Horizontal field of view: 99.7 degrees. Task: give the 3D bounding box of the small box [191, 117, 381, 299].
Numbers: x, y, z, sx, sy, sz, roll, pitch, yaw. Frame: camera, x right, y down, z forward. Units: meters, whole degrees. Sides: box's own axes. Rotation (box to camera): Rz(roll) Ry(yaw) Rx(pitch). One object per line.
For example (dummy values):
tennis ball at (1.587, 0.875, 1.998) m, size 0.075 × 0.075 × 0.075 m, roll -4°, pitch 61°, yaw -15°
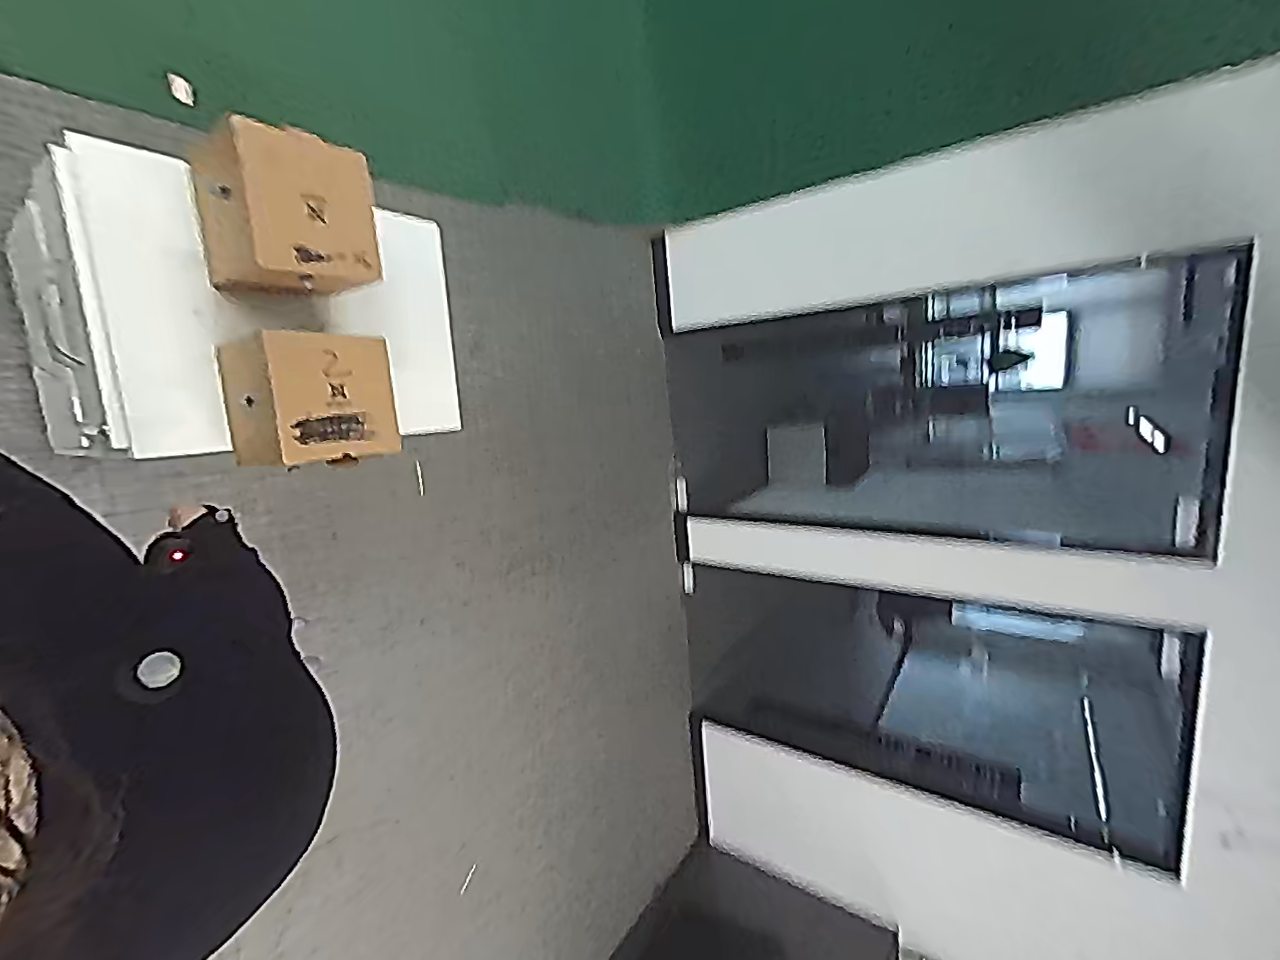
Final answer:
small box at (-0.502, -0.368, 0.769) m, size 0.168 × 0.176 × 0.179 m, roll -17°, pitch 107°, yaw -53°
